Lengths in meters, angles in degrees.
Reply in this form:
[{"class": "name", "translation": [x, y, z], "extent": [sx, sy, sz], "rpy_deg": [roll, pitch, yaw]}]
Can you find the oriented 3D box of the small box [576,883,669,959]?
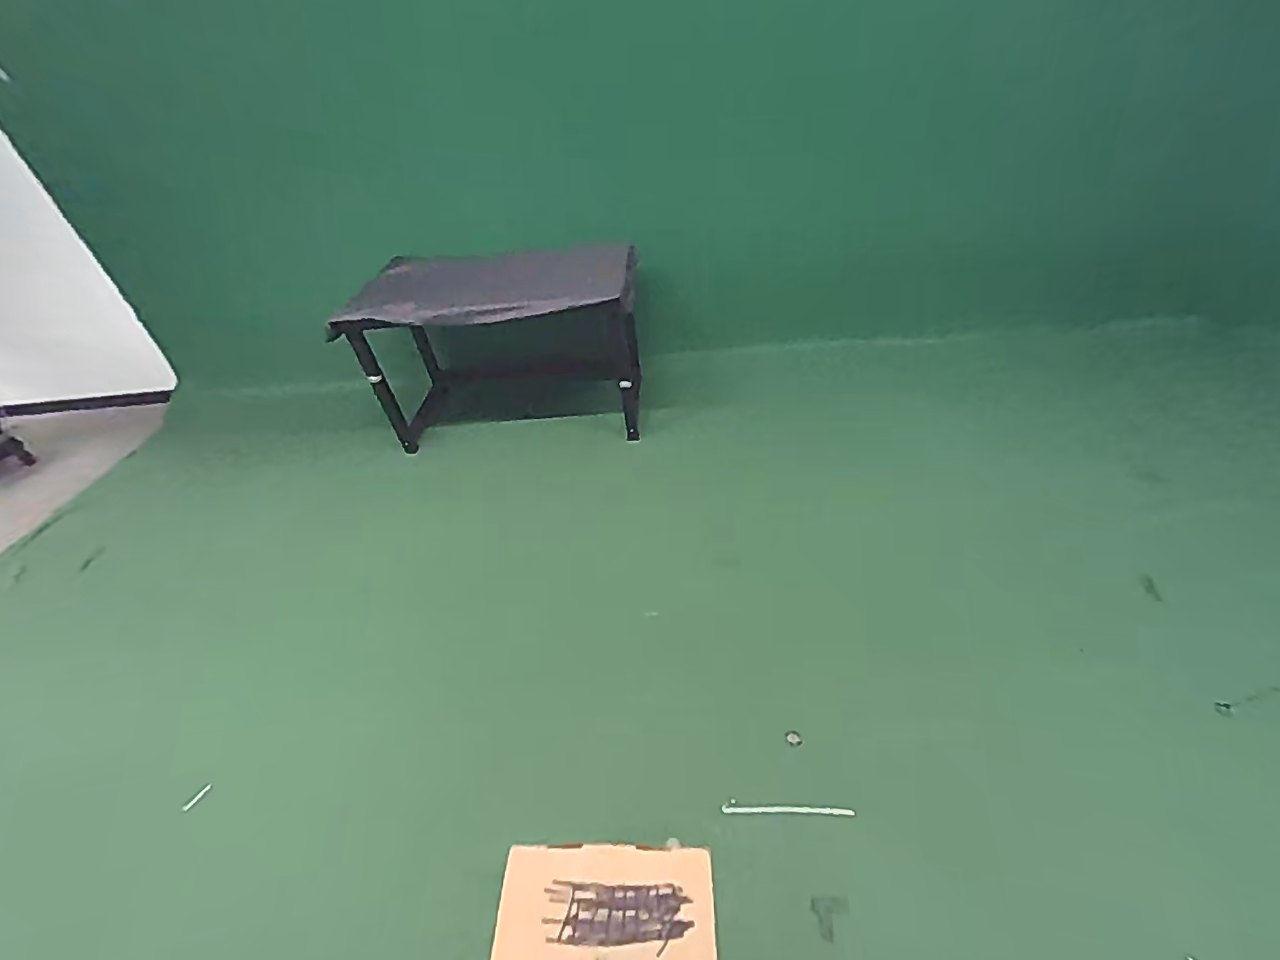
[{"class": "small box", "translation": [-0.029, 0.951, 1.101], "extent": [0.168, 0.176, 0.179], "rpy_deg": [-4, 39, 6]}]
